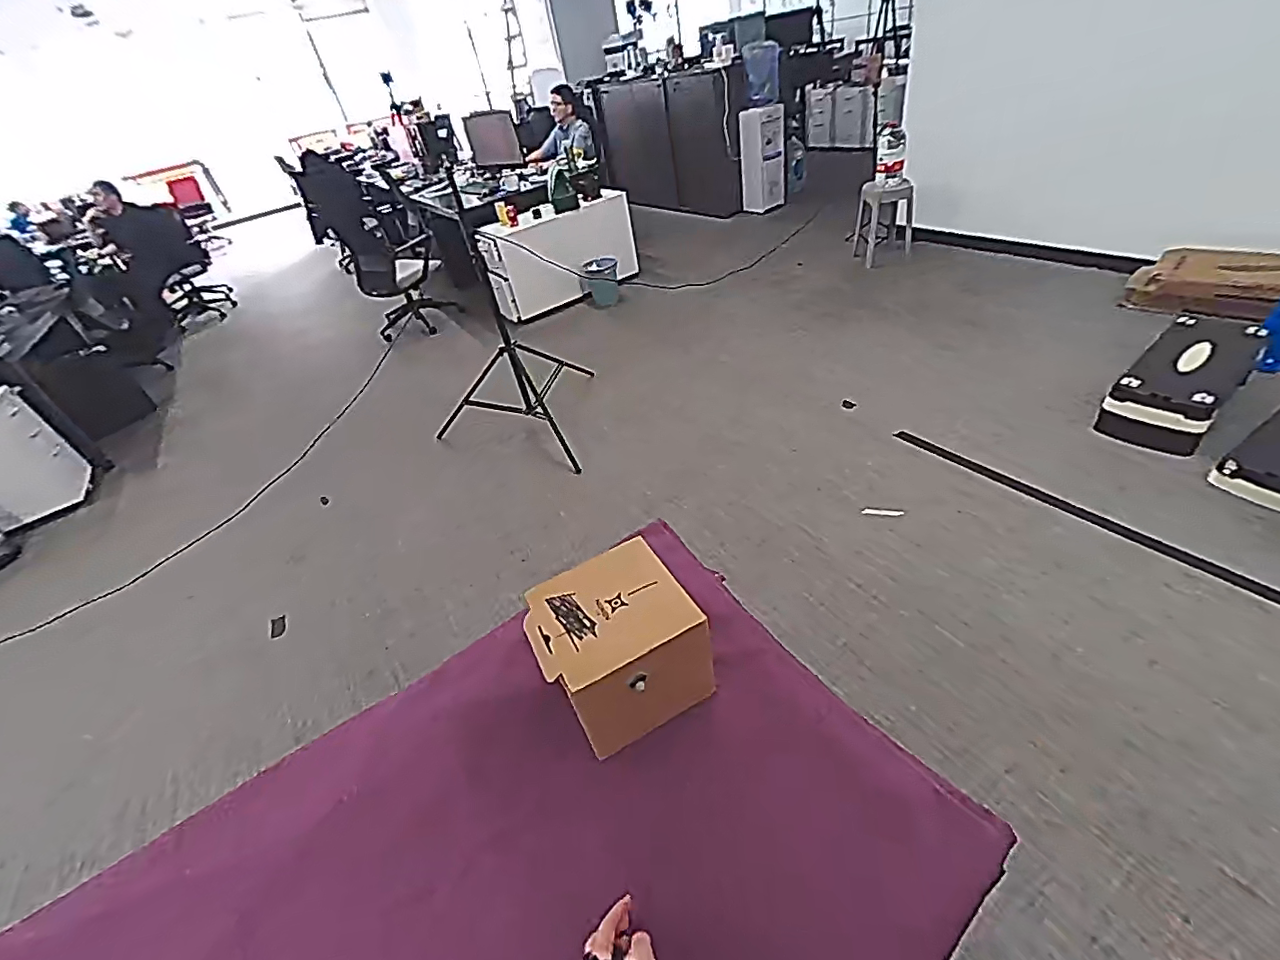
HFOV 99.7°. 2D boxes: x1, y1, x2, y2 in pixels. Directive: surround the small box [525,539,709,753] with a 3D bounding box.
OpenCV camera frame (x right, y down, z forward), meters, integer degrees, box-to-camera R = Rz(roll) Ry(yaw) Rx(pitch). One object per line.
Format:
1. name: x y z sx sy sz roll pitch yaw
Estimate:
1. small box: -0.025 0.217 0.709 0.179 0.176 0.168 -25 42 -16
